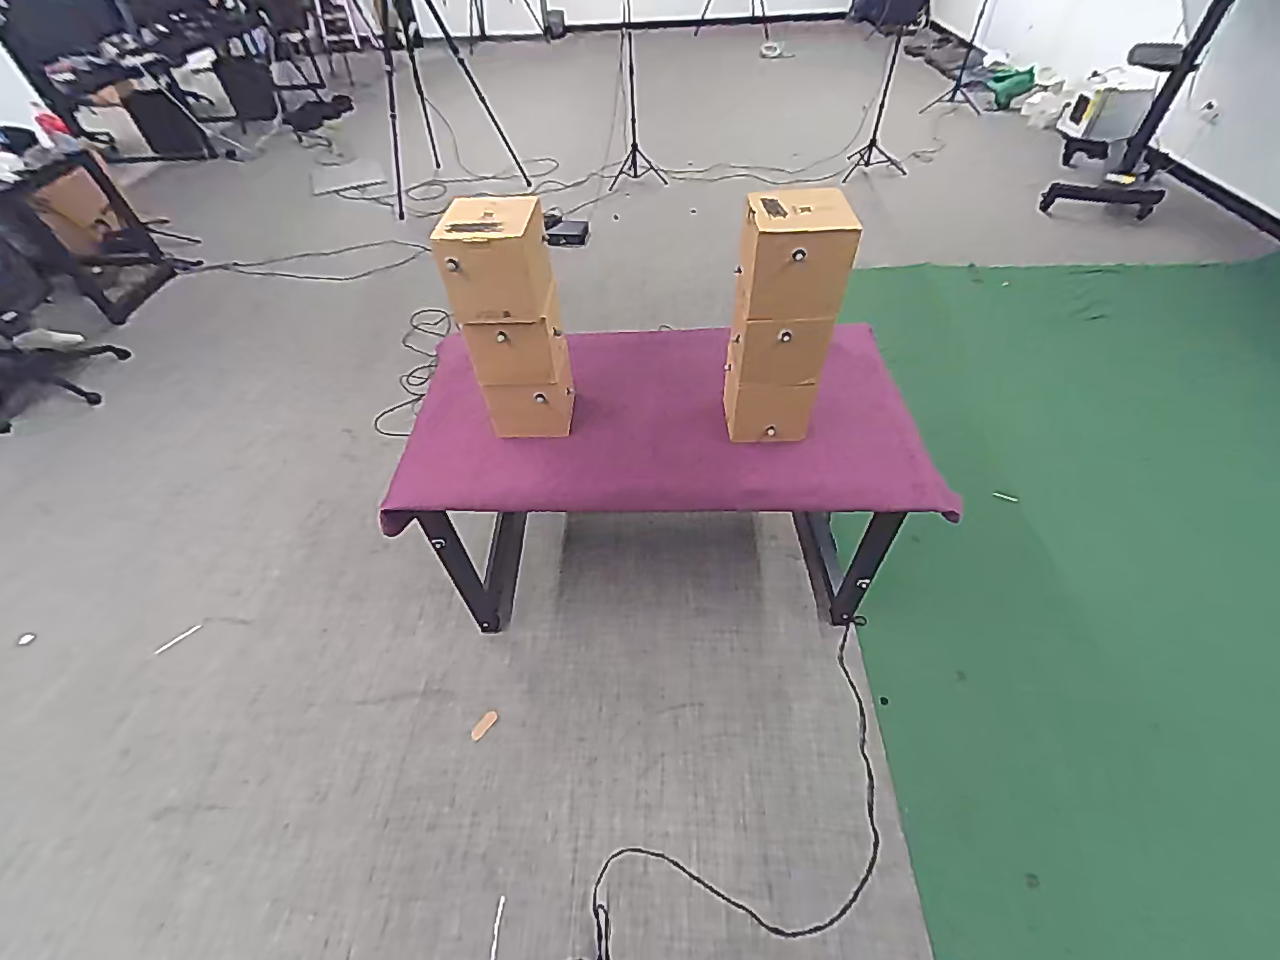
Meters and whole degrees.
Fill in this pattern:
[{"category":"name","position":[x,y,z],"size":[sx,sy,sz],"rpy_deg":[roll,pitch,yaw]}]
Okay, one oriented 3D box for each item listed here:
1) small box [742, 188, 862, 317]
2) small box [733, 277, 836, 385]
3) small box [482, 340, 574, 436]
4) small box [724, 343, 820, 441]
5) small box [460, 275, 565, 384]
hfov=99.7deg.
[{"category":"small box","position":[0.287,-0.420,1.009],"size":[0.179,0.176,0.168],"rpy_deg":[-2,50,2]},{"category":"small box","position":[0.291,-0.311,1.132],"size":[0.179,0.176,0.168],"rpy_deg":[-1,50,2]},{"category":"small box","position":[-0.257,-0.218,1.294],"size":[0.179,0.176,0.168],"rpy_deg":[0,49,2]},{"category":"small box","position":[0.296,-0.203,1.254],"size":[0.179,0.176,0.168],"rpy_deg":[-2,49,1]},{"category":"small box","position":[-0.263,-0.322,1.170],"size":[0.179,0.176,0.168],"rpy_deg":[-1,50,3]}]
